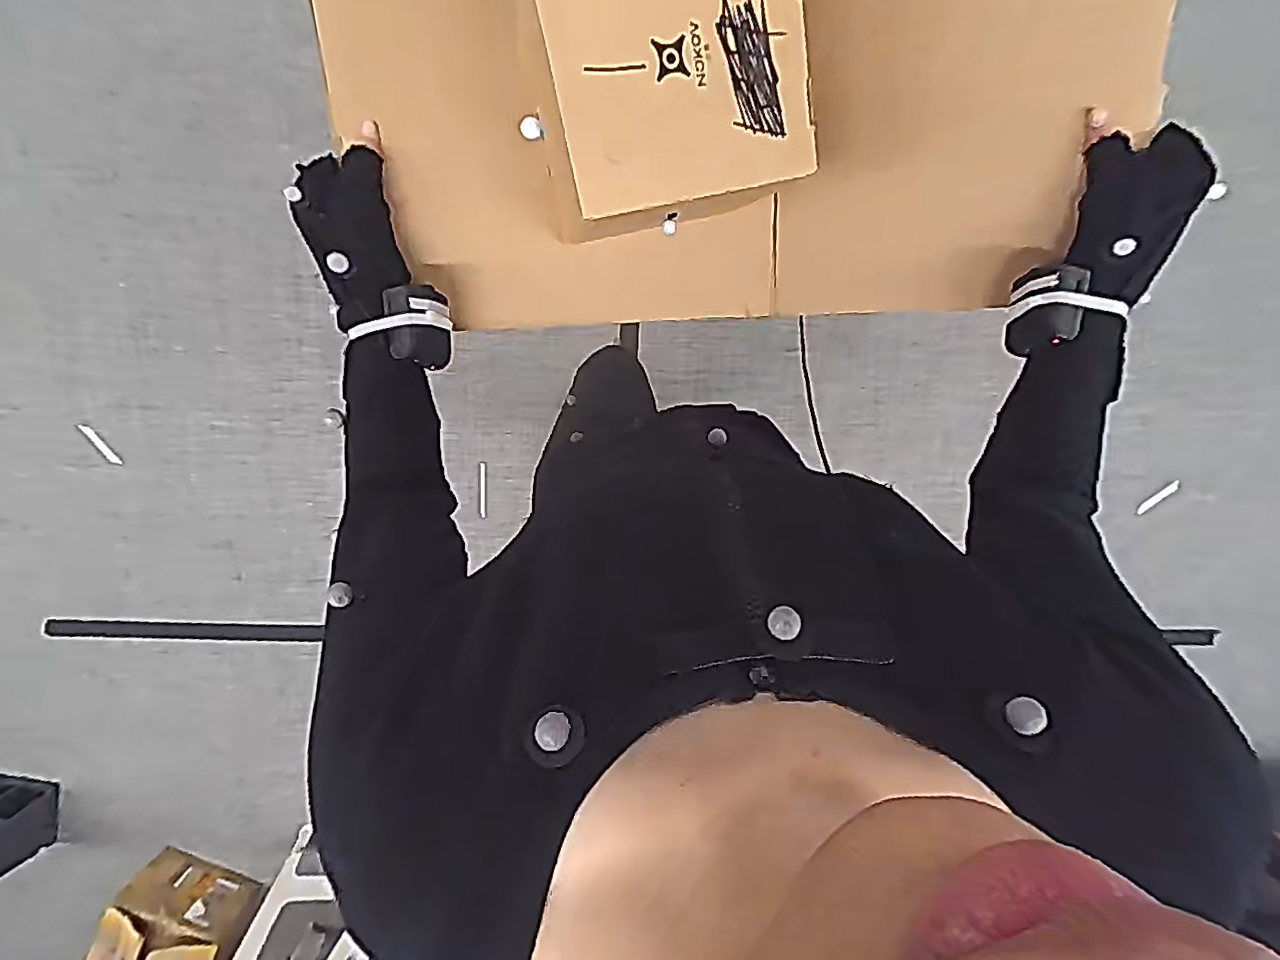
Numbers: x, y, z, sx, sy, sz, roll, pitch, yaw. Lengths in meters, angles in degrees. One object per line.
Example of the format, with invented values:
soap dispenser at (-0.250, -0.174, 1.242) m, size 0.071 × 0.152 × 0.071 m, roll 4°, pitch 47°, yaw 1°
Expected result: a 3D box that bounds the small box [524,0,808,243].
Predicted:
small box at (0.011, -0.301, 0.436) m, size 0.179 × 0.176 × 0.168 m, roll -15°, pitch 109°, yaw -7°
